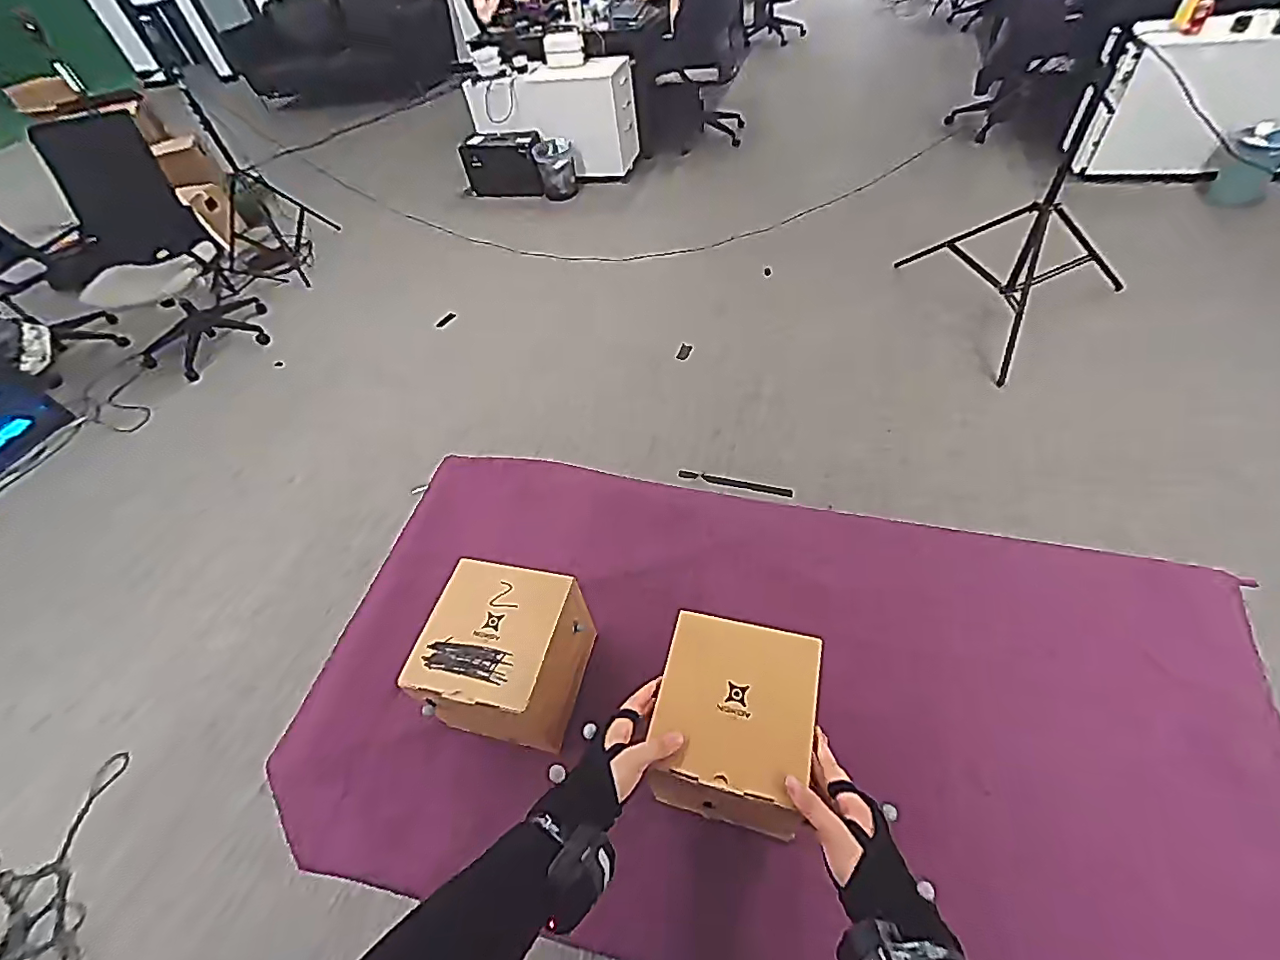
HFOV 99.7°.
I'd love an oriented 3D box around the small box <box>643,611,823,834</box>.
[{"bbox_3d":[0.111,0.283,0.634,0.168,0.176,0.179,8,52,16],"label":"small box"}]
